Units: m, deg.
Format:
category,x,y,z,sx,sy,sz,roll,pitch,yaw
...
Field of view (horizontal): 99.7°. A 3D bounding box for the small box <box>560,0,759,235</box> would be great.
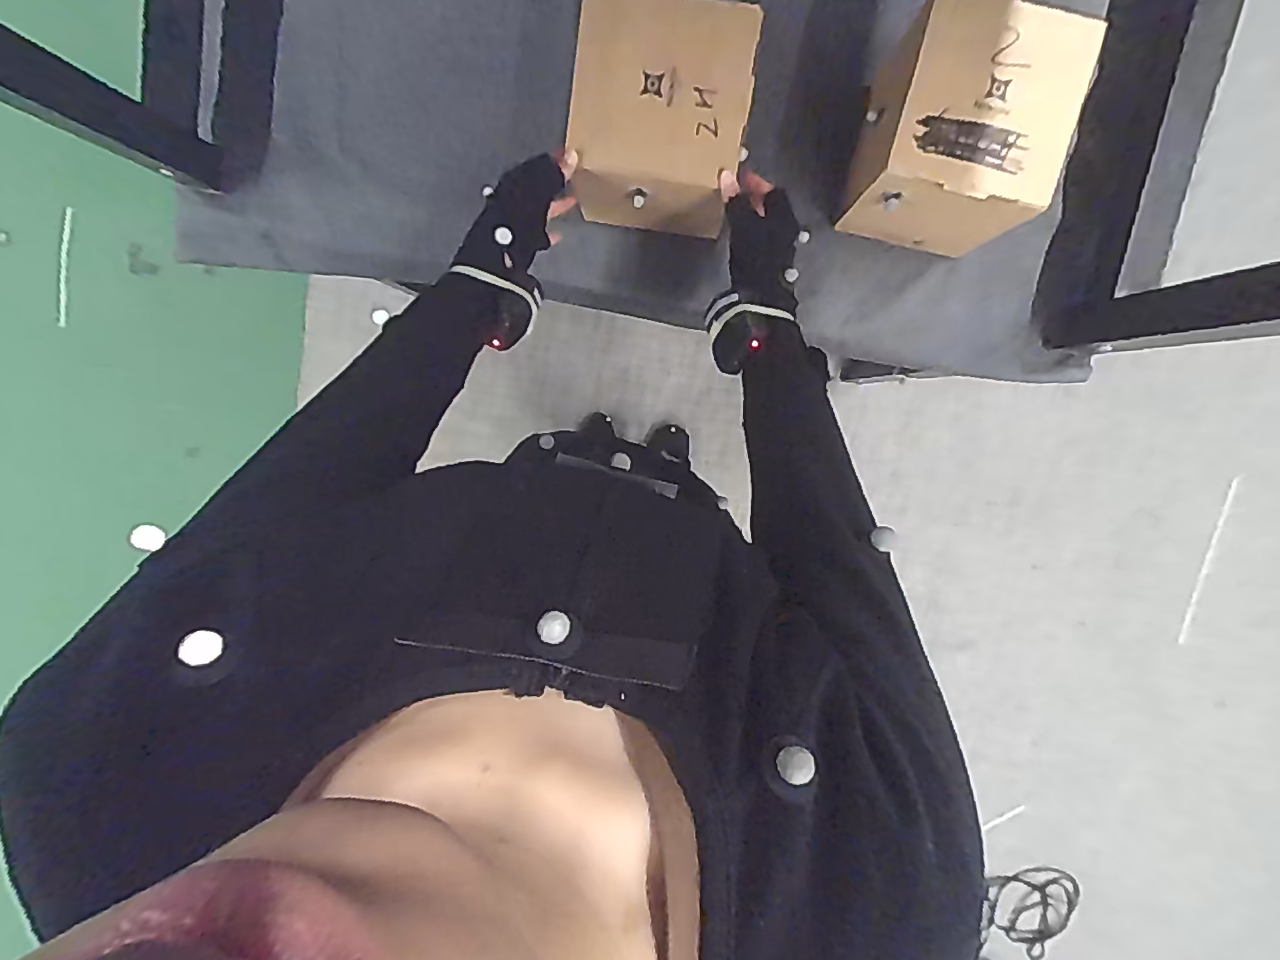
category,x,y,z,sx,sy,sz,roll,pitch,yaw
small box,0.020,-0.393,0.610,0.179,0.176,0.168,9,99,0
